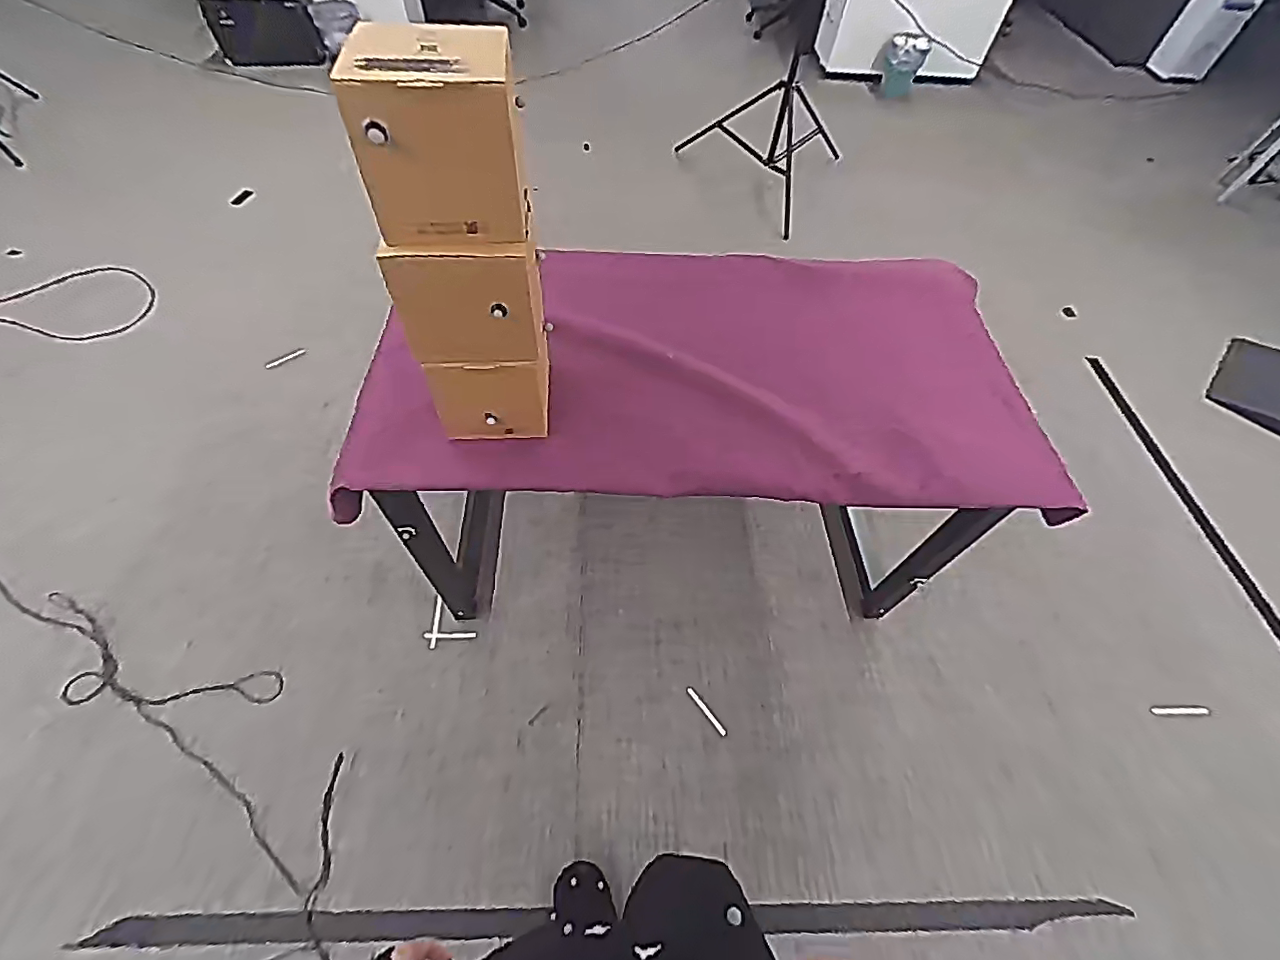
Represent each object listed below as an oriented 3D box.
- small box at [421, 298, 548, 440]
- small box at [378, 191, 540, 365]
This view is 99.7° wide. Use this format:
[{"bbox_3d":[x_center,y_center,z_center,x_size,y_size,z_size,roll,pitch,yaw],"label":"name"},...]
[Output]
[{"bbox_3d":[-0.242,-0.185,0.887,0.168,0.176,0.179,-2,56,-5],"label":"small box"},{"bbox_3d":[-0.234,-0.277,0.754,0.179,0.176,0.168,-3,54,-5],"label":"small box"}]
